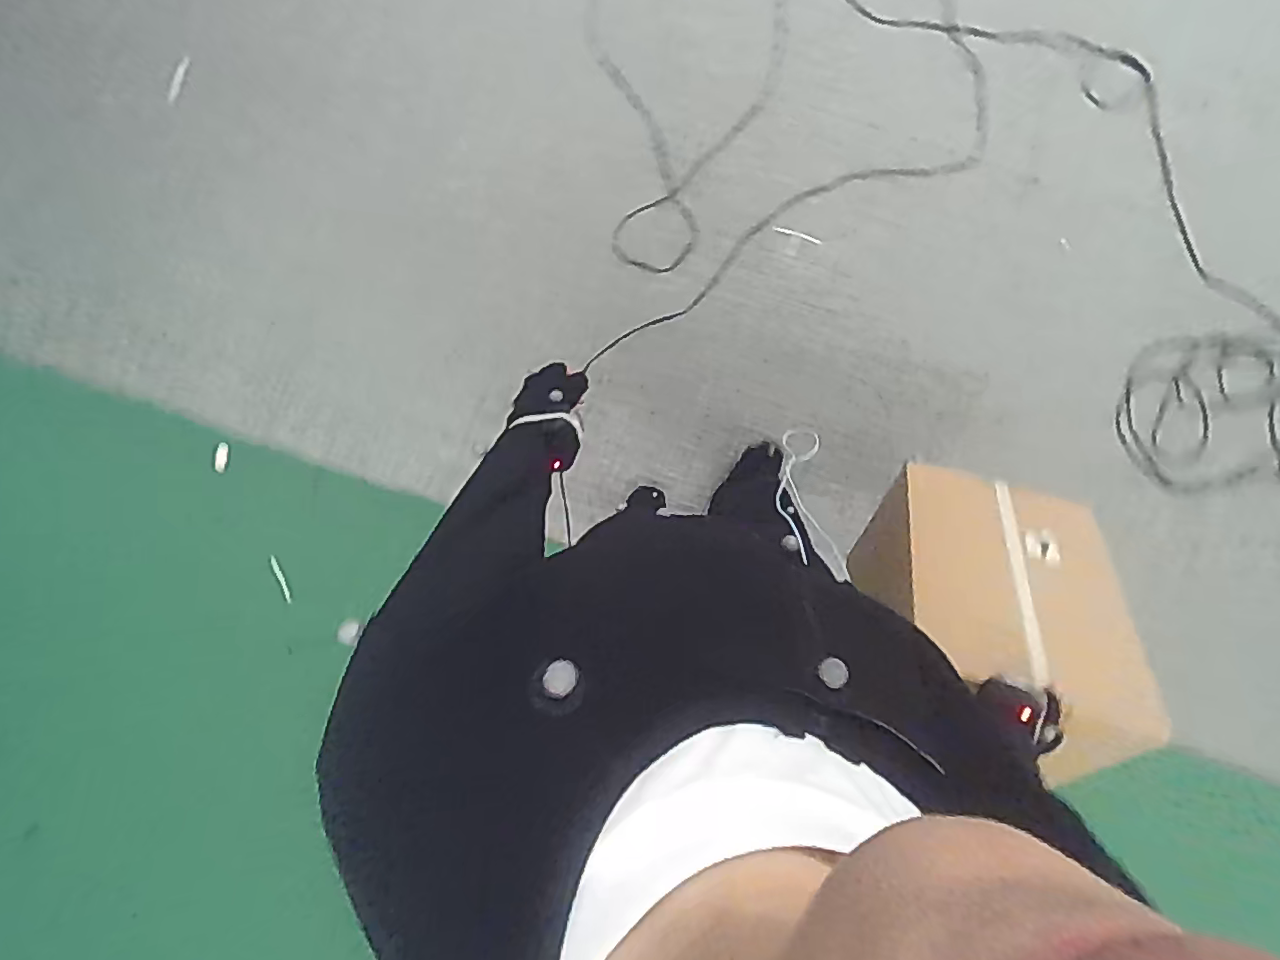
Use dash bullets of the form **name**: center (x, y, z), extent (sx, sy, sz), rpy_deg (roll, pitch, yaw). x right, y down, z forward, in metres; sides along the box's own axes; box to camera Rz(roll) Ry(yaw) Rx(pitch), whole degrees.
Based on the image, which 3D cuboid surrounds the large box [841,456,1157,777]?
- **large box**: center (0.557, 0.229, 0.946), extent (0.320, 0.320, 0.408), rpy_deg (15, 48, 8)
